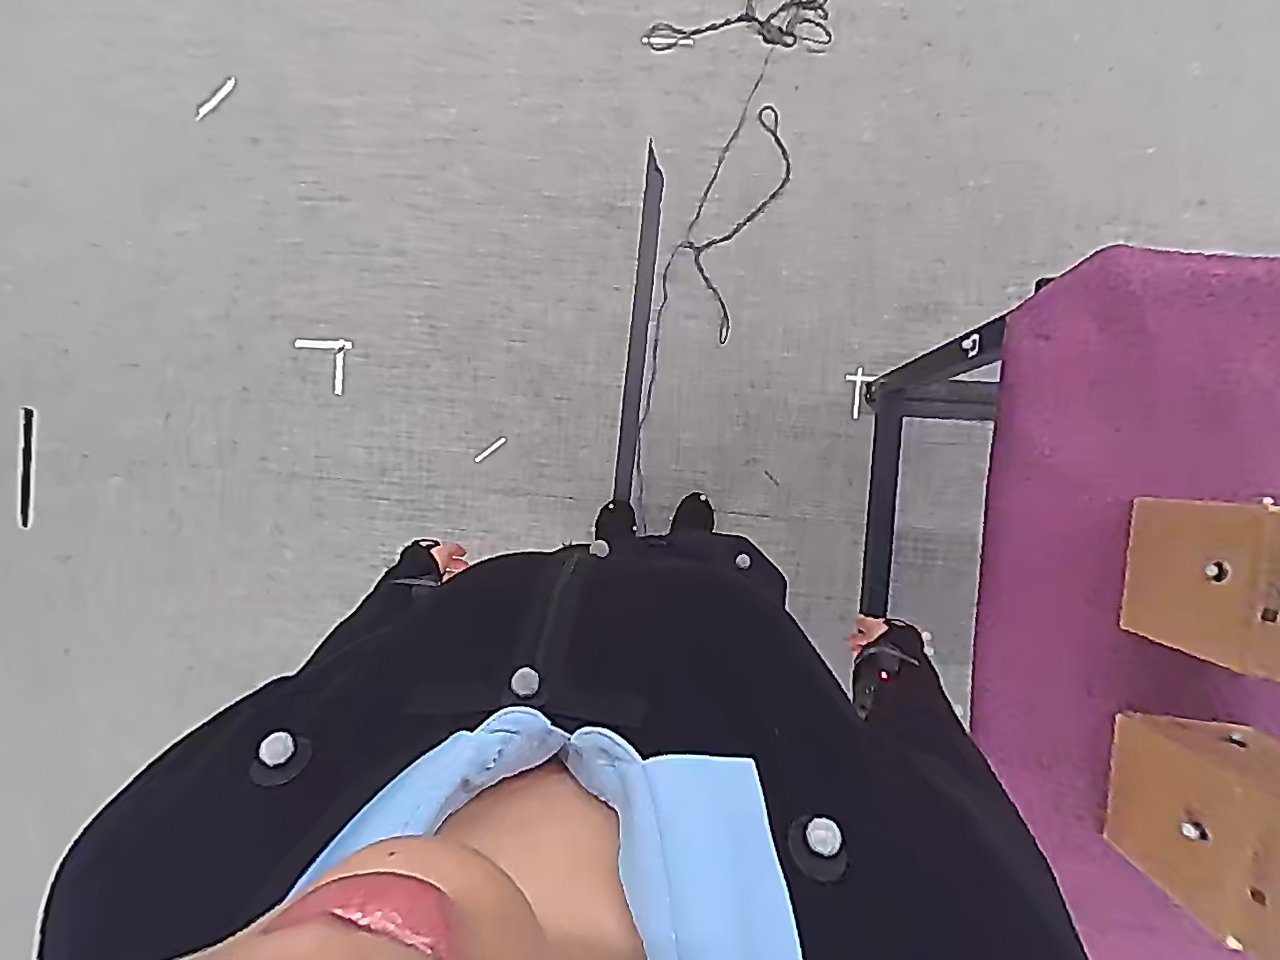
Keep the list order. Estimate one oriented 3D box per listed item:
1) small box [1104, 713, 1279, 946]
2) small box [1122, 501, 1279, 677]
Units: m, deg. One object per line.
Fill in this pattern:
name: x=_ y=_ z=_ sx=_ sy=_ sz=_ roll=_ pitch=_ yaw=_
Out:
small box: x=0.699 y=0.405 z=0.636 sx=0.168 sy=0.176 sz=0.179 roll=6 pitch=91 yaw=5
small box: x=0.715 y=0.119 z=0.628 sx=0.168 sy=0.176 sz=0.179 roll=5 pitch=92 yaw=5
